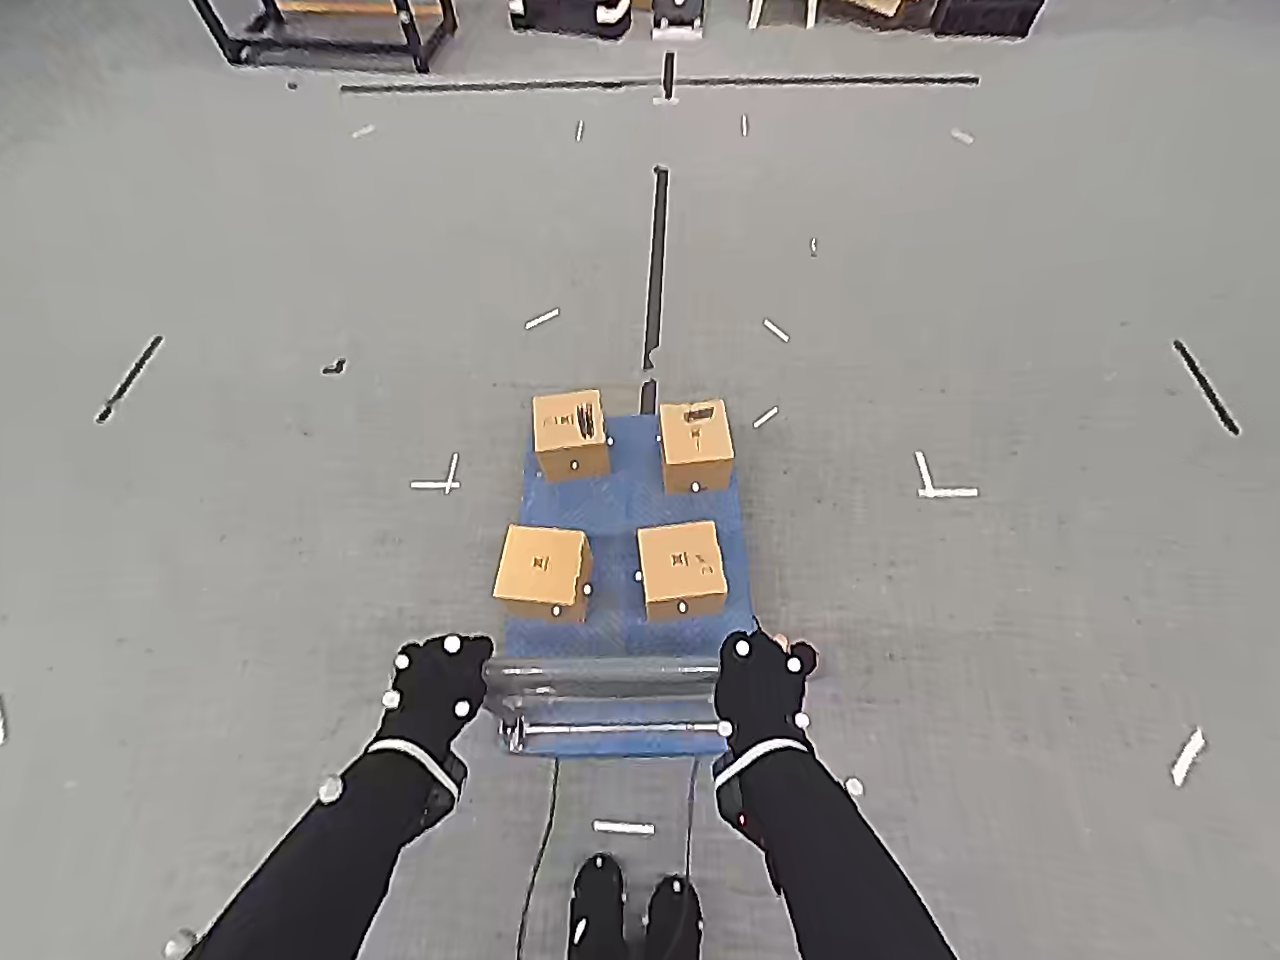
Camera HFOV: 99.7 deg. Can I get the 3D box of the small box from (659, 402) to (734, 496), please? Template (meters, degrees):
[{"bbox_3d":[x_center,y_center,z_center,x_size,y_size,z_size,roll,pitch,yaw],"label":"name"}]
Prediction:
[{"bbox_3d":[0.138,-0.078,1.391,0.168,0.176,0.179,-5,61,0],"label":"small box"}]

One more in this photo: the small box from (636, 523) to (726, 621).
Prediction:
[{"bbox_3d":[0.090,0.214,1.228,0.179,0.176,0.168,-7,60,-1],"label":"small box"}]

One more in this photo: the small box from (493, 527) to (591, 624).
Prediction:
[{"bbox_3d":[-0.215,0.223,1.236,0.179,0.176,0.168,5,60,3],"label":"small box"}]
